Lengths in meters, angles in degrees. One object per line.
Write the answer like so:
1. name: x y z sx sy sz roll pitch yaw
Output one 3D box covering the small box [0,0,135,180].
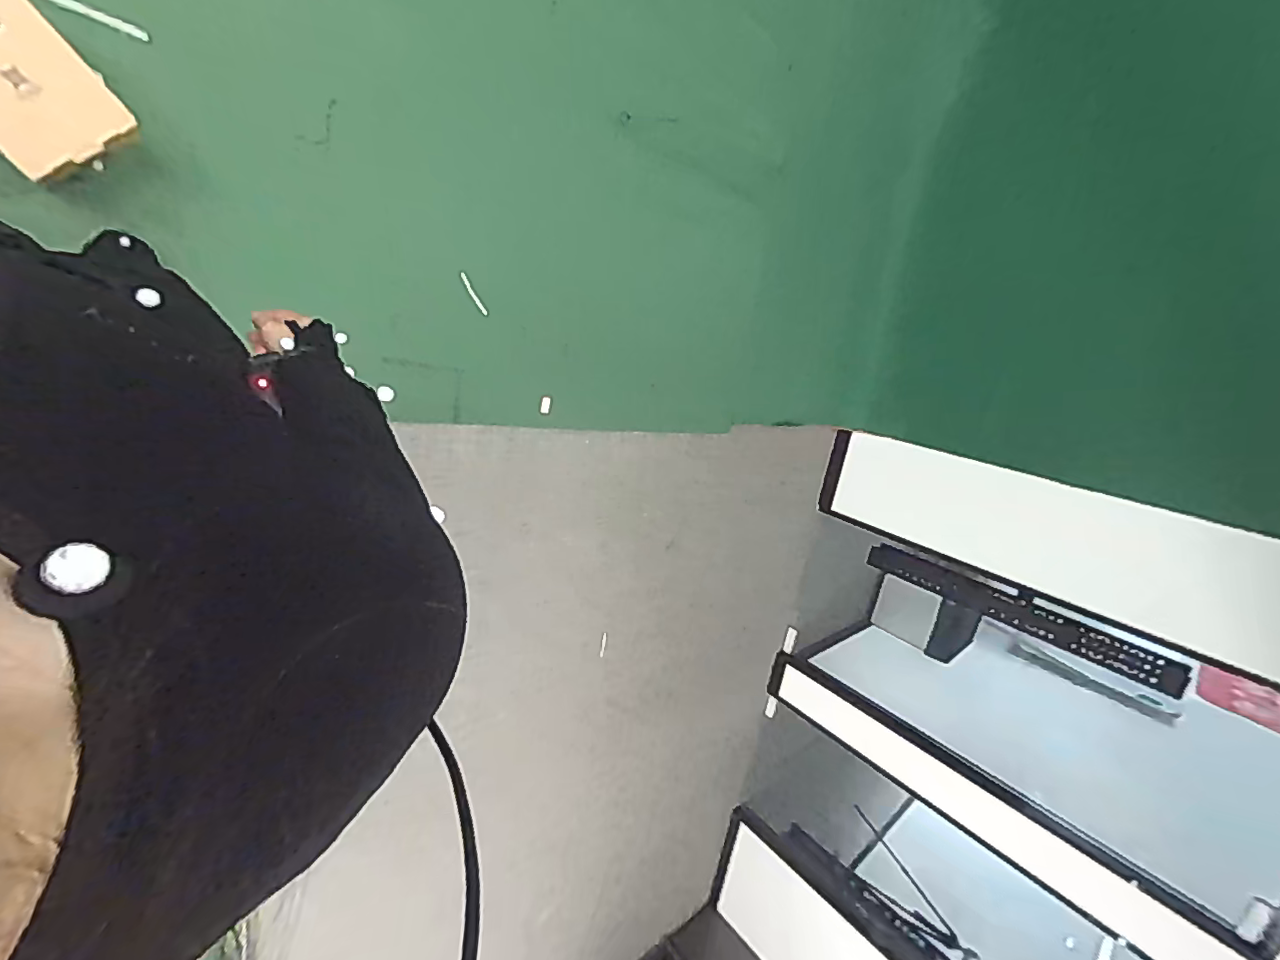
1. small box: -0.888 -0.560 0.779 0.168 0.176 0.179 -47 135 -18
